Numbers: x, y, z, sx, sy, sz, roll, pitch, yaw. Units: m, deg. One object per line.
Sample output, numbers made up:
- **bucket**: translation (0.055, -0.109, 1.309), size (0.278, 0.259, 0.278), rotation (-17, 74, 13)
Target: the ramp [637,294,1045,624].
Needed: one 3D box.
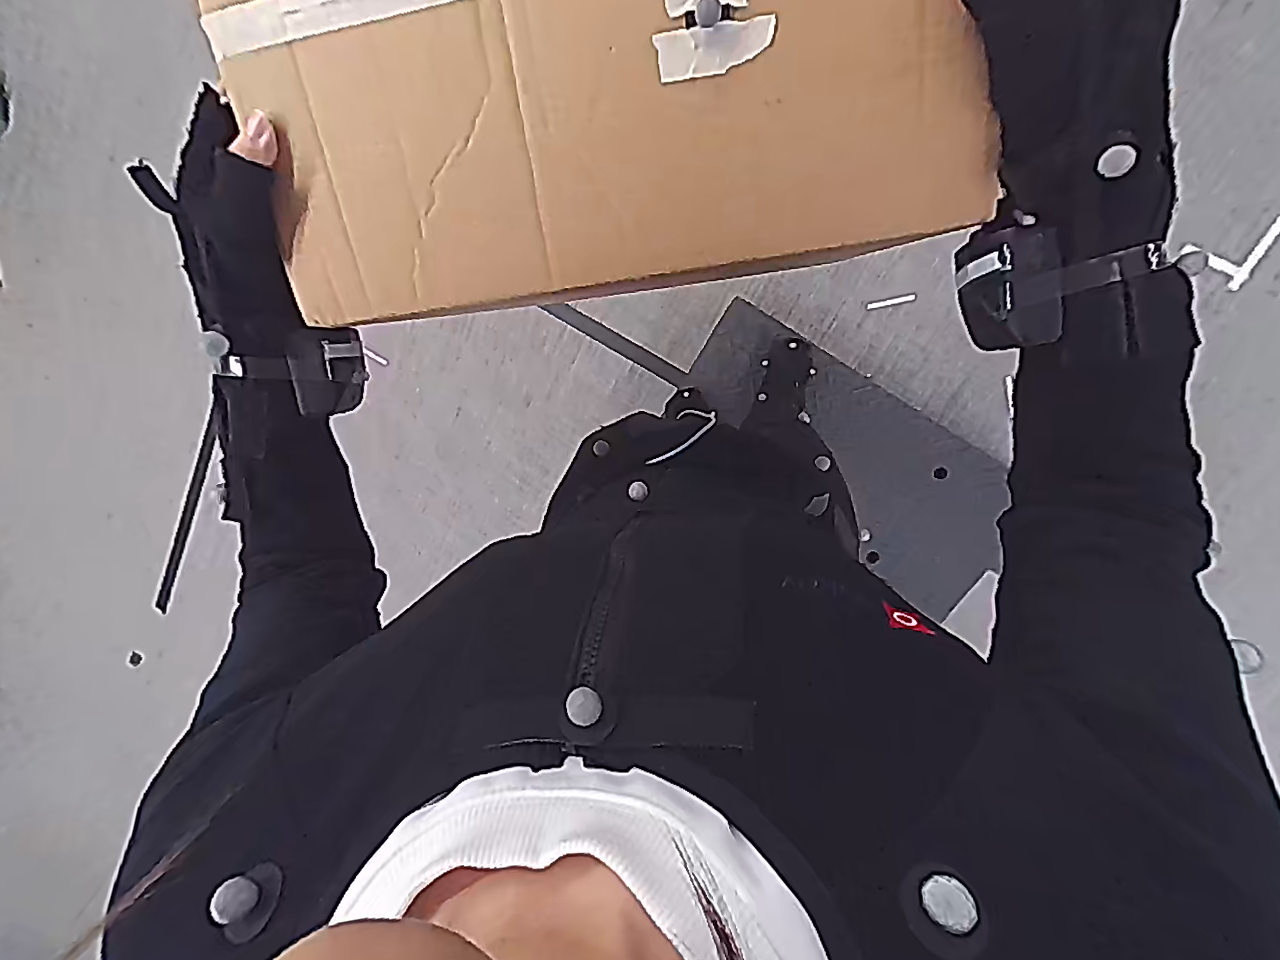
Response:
- **ramp**: translation (0.538, -0.021, 1.442), size (0.991, 0.206, 0.509), rotation (31, 105, 3)

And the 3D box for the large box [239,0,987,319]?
- **large box**: translation (-0.014, -0.319, 0.421), size (0.408, 0.320, 0.320), rotation (-6, 109, 9)
